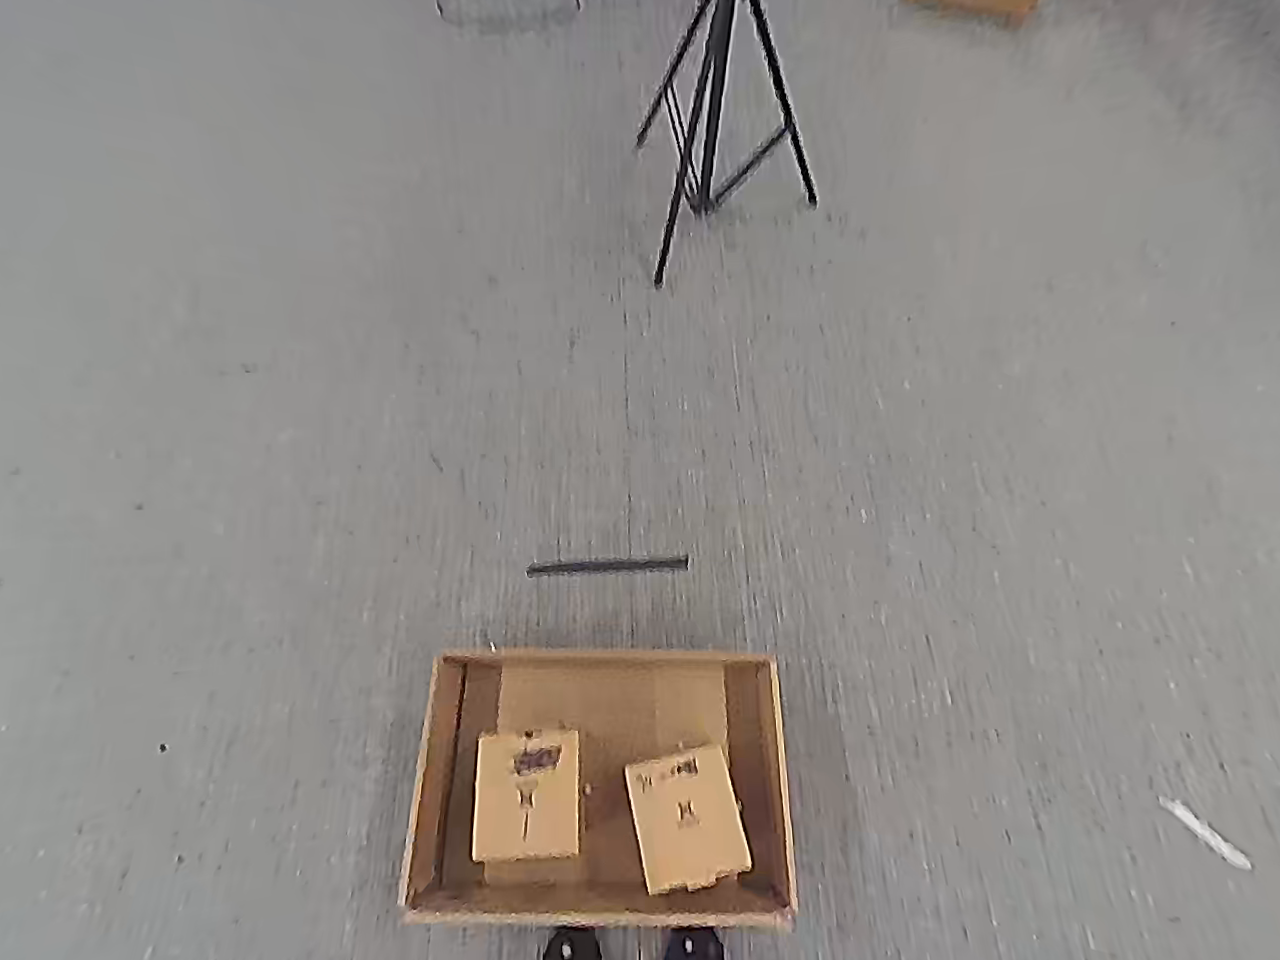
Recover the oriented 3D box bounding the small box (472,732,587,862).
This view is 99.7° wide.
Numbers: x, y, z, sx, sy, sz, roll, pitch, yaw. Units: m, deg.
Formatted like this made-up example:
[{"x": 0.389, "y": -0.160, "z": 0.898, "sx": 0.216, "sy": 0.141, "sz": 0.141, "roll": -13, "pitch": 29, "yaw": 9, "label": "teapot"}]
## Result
[{"x": -0.180, "y": 0.535, "z": 0.934, "sx": 0.168, "sy": 0.176, "sz": 0.179, "roll": -2, "pitch": 66, "yaw": -2, "label": "small box"}]
